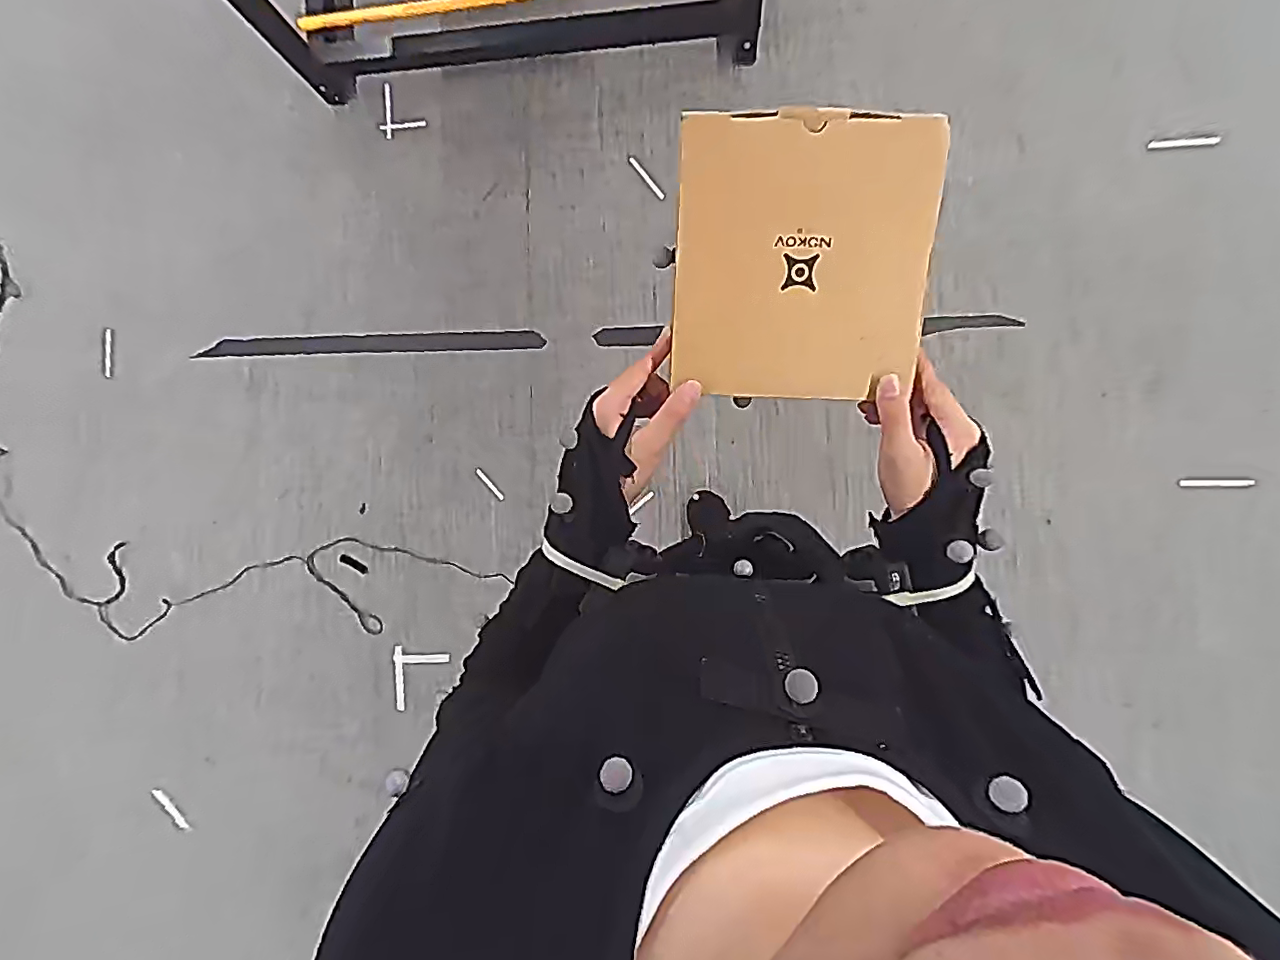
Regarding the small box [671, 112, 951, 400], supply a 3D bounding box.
[{"bbox_3d":[0.112,-0.161,0.430,0.168,0.176,0.179,2,104,3],"label":"small box"}]
